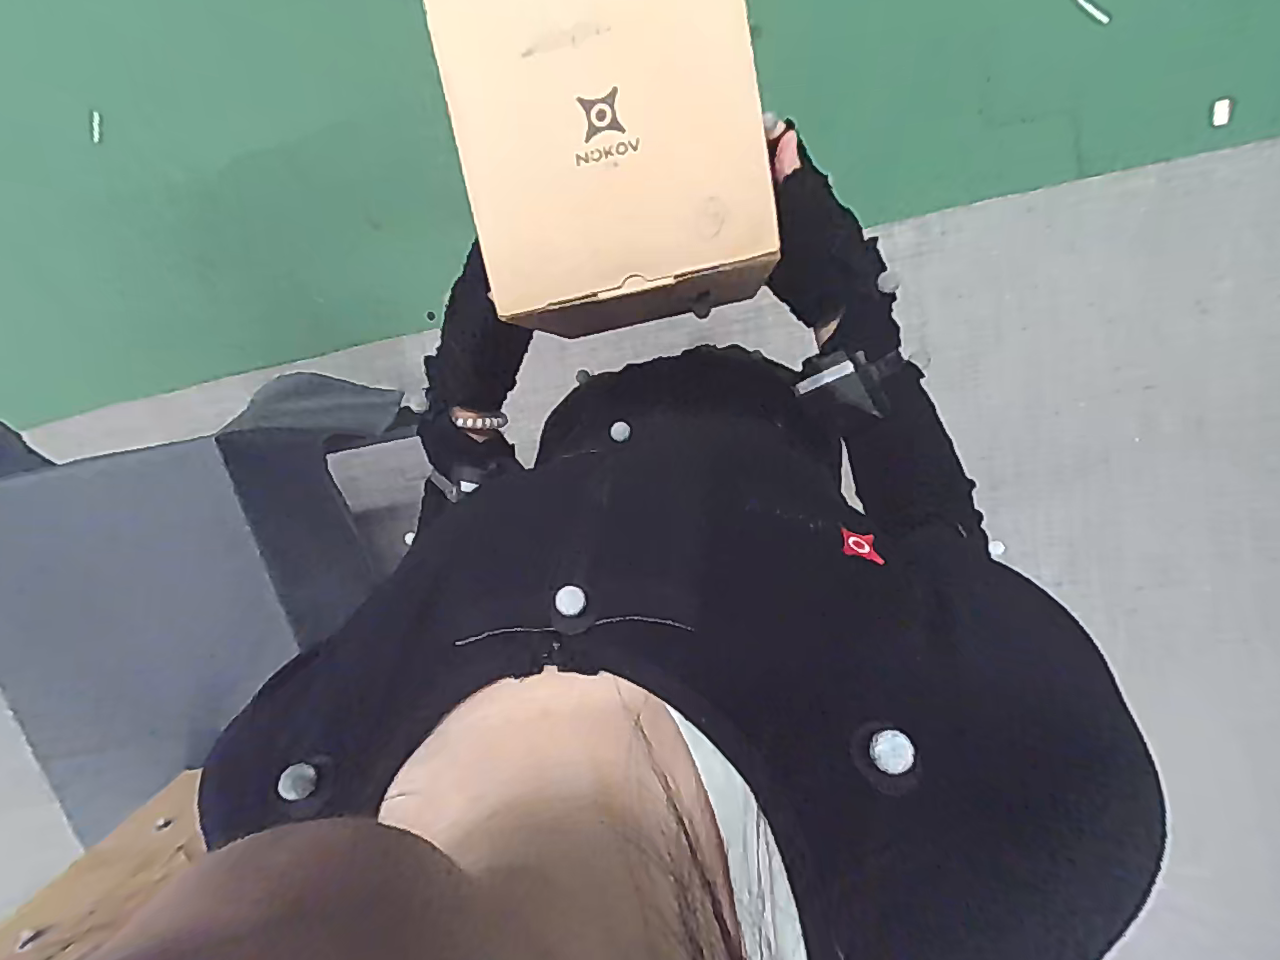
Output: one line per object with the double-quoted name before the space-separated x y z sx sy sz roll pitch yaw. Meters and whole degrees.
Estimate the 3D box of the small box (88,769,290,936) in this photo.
"small box" -0.719 0.605 0.890 0.179 0.176 0.168 -10 102 10

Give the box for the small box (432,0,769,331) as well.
"small box" -0.011 -0.207 0.377 0.168 0.176 0.179 -10 100 8

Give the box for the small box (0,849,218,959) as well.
"small box" -0.737 0.641 0.733 0.179 0.176 0.168 -10 101 9
